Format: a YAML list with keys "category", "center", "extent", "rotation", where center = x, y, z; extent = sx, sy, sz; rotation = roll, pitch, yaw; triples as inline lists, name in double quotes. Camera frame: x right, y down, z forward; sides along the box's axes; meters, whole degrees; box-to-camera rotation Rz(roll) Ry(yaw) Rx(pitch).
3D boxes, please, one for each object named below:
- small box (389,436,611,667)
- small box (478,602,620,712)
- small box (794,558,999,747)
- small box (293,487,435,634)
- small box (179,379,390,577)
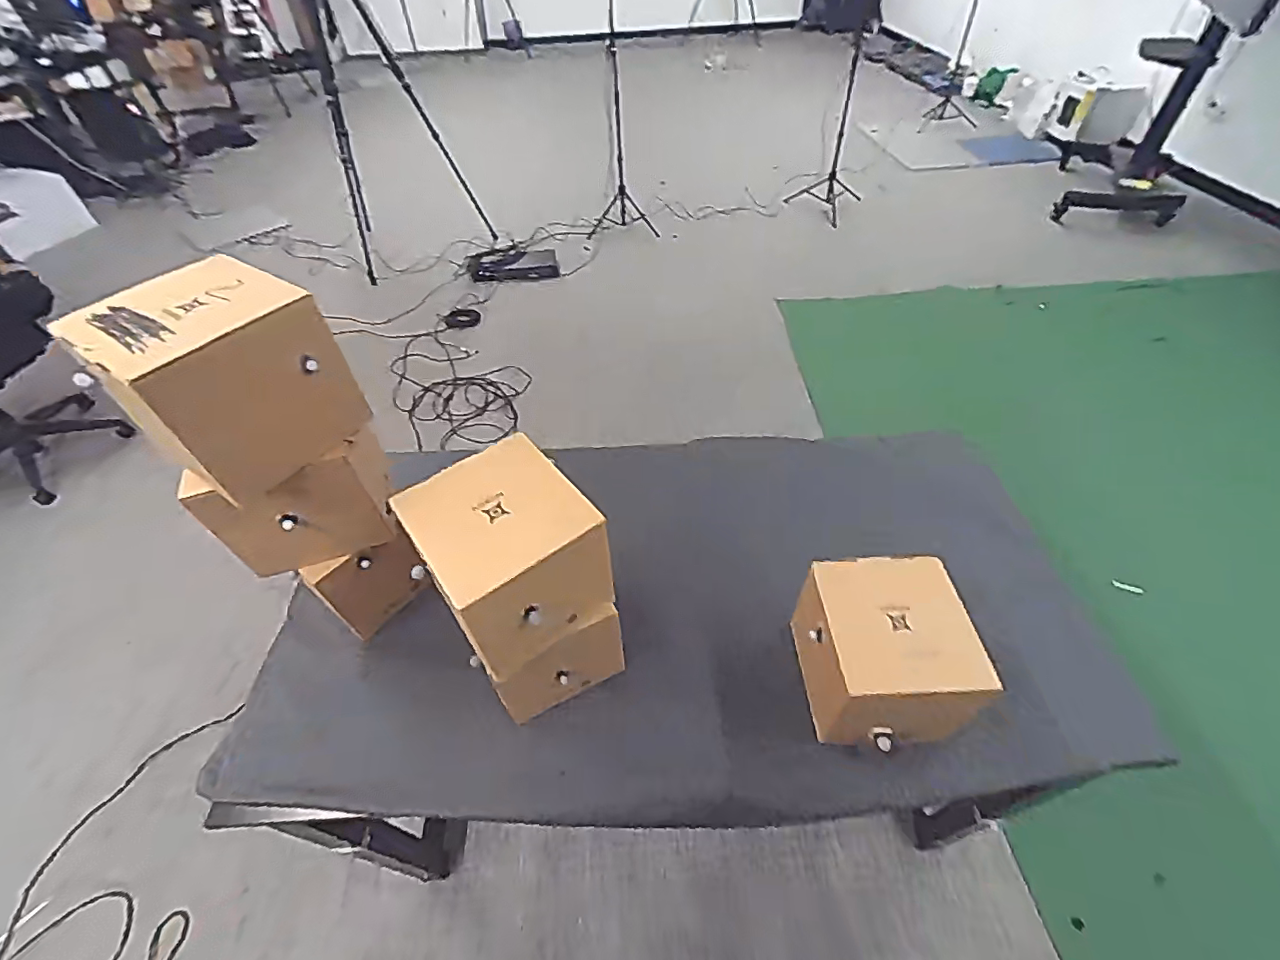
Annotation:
- category: "small box"
  center: [-0.149, 0.087, 0.619]
  extent: [0.168, 0.176, 0.179]
  rotation: [-32, 53, -23]
- category: "small box"
  center: [-0.137, 0.192, 0.743]
  extent: [0.168, 0.176, 0.179]
  rotation: [-22, 50, -17]
- category: "small box"
  center: [0.304, 0.220, 0.692]
  extent: [0.168, 0.176, 0.179]
  rotation: [-3, 47, 2]
- category: "small box"
  center: [-0.439, 0.106, 0.838]
  extent: [0.179, 0.176, 0.168]
  rotation: [29, 56, 26]
- category: "small box"
  center: [-0.445, -0.001, 0.713]
  extent: [0.179, 0.176, 0.168]
  rotation: [-18, 50, -12]
